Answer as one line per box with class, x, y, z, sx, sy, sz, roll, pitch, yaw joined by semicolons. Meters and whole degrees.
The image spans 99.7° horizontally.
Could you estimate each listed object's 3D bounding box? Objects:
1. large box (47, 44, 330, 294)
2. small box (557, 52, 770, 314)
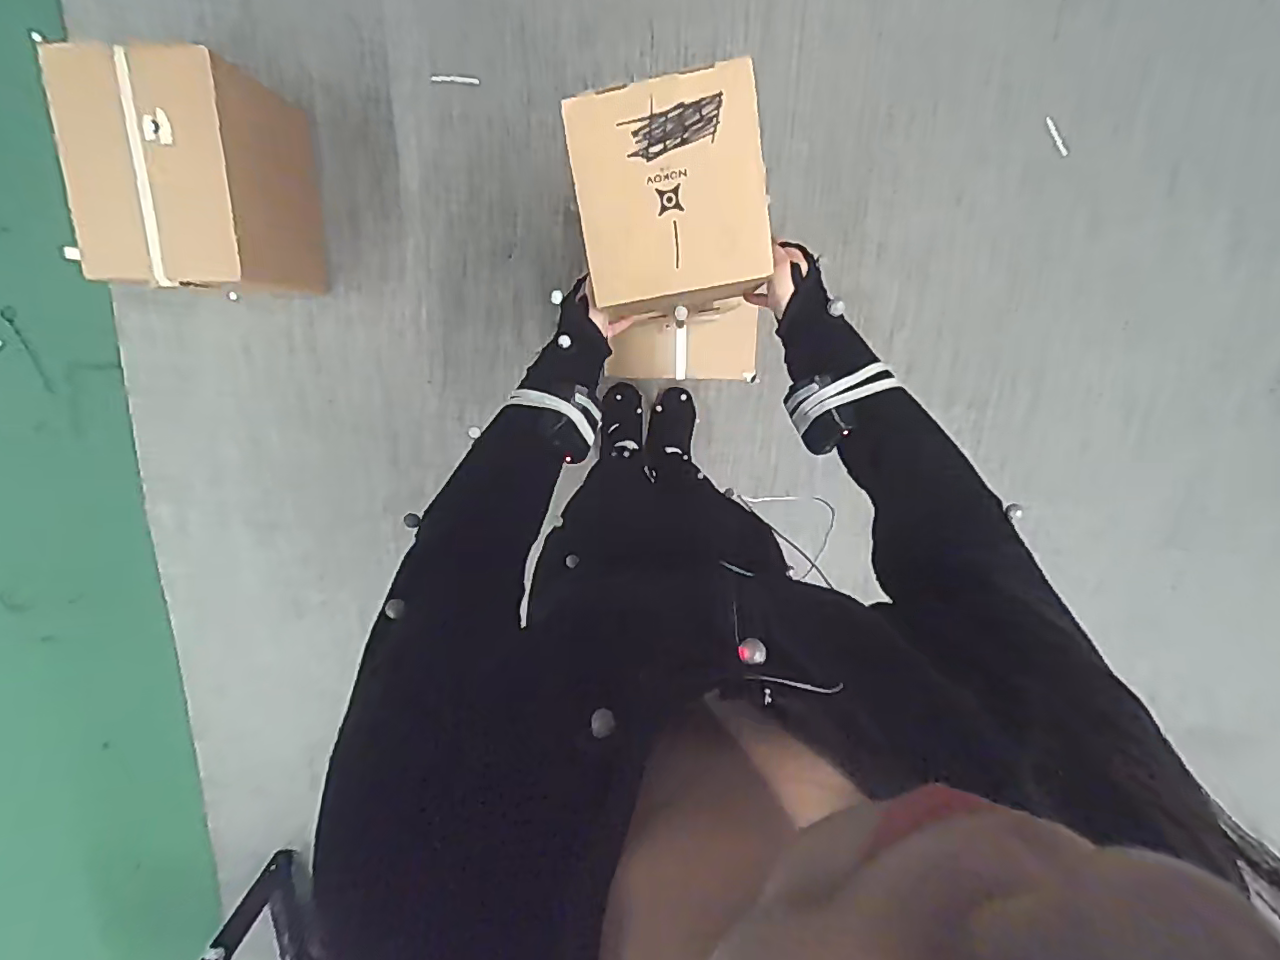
large box;-0.927;-0.629;1.171;0.320;0.320;0.408;1;103;0
small box;0.028;-0.275;0.546;0.168;0.176;0.179;-9;104;8
